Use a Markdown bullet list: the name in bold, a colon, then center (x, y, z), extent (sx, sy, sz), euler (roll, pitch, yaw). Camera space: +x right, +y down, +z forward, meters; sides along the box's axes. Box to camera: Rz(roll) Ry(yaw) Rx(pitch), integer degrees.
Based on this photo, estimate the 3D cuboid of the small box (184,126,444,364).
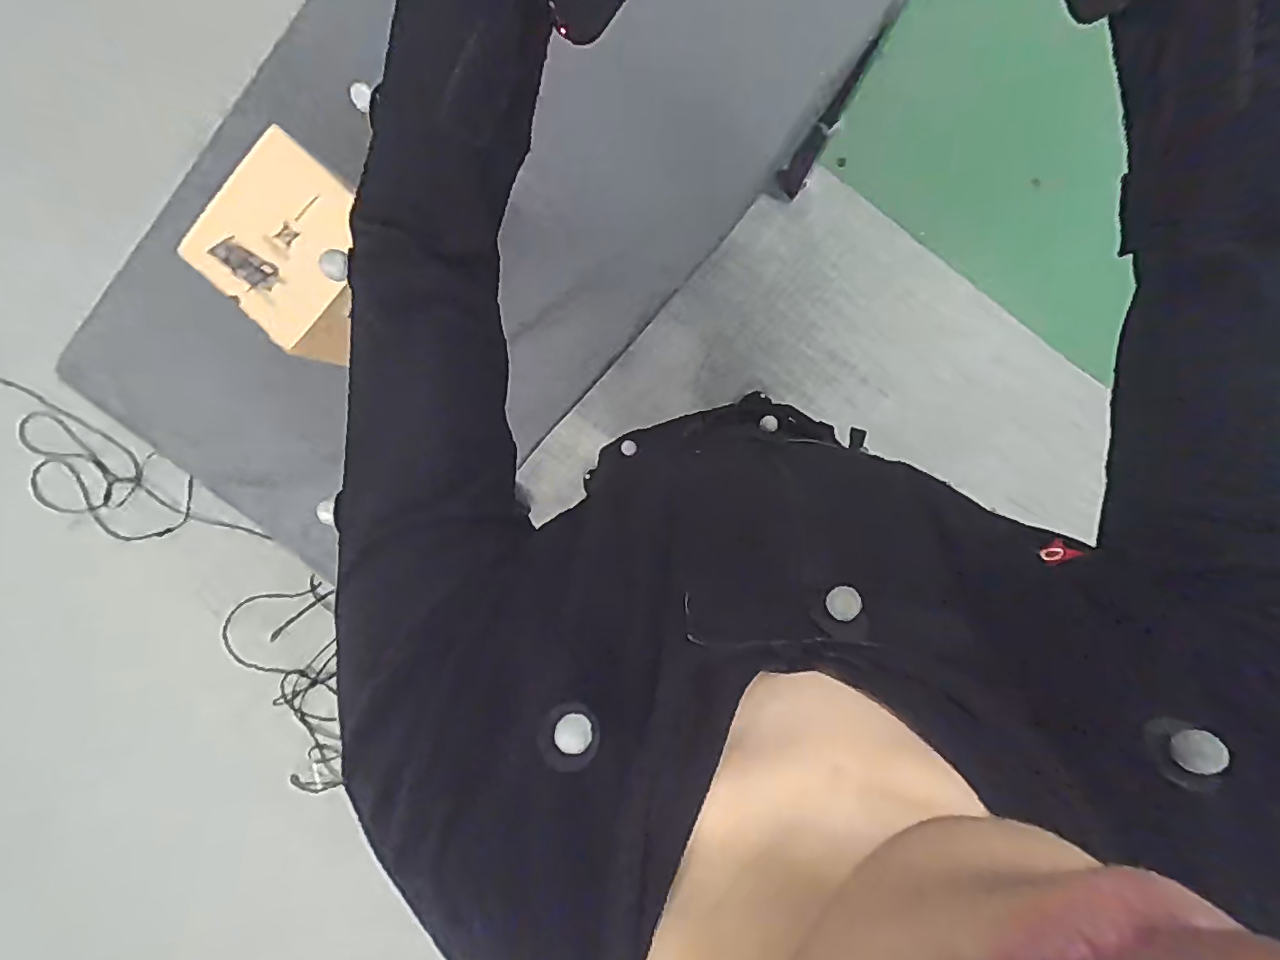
- **small box**: center (-0.375, -0.264, 0.658), extent (0.168, 0.176, 0.179), euler (42, 94, -1)
